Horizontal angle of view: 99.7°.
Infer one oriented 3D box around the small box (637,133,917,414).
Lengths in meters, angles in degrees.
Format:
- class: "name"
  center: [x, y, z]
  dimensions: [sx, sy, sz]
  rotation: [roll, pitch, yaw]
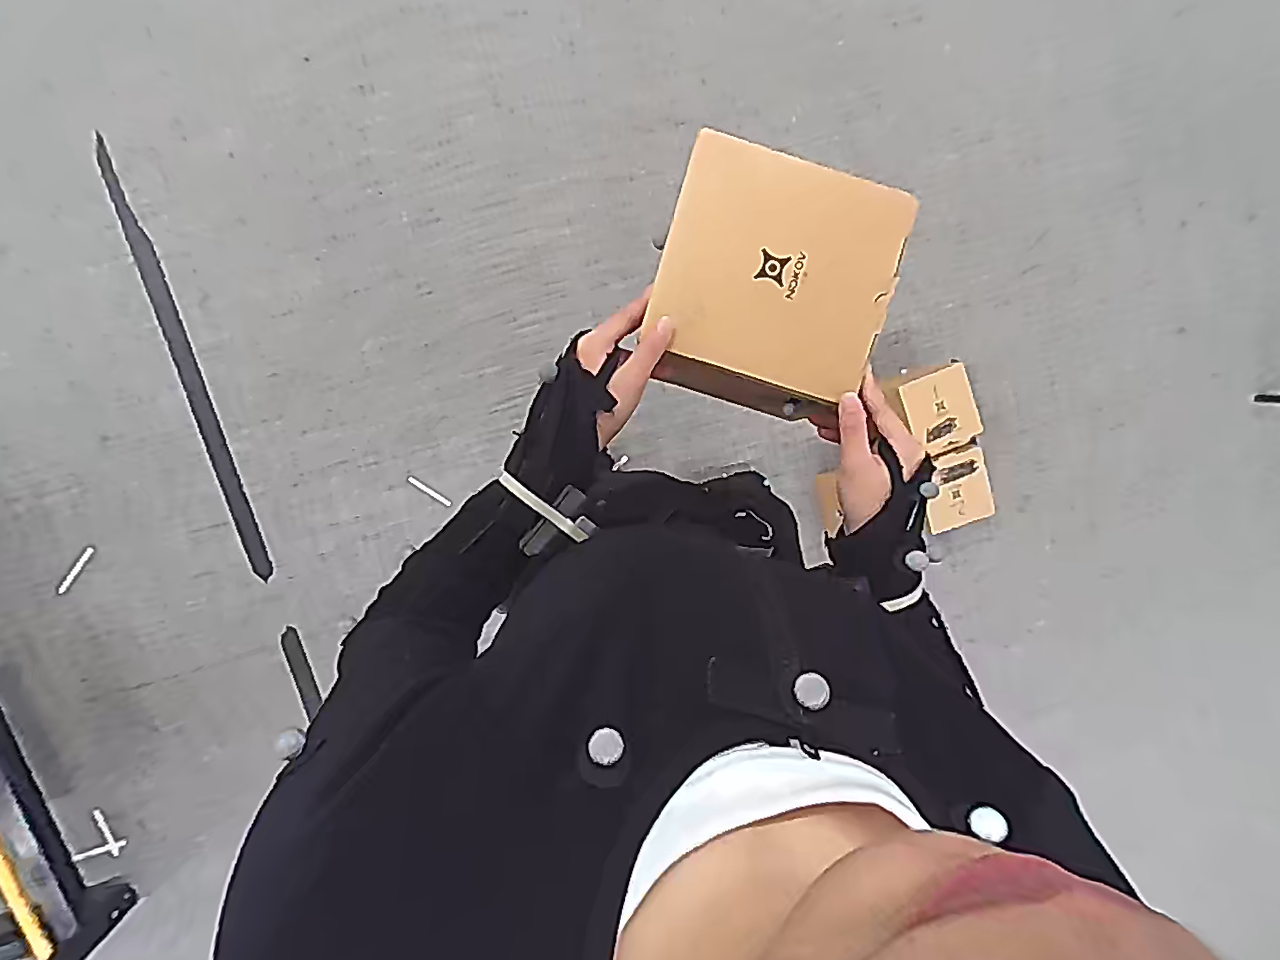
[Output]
- class: "small box"
  center: [0.102, -0.161, 0.485]
  dimensions: [0.179, 0.176, 0.168]
  rotation: [17, 93, -2]
